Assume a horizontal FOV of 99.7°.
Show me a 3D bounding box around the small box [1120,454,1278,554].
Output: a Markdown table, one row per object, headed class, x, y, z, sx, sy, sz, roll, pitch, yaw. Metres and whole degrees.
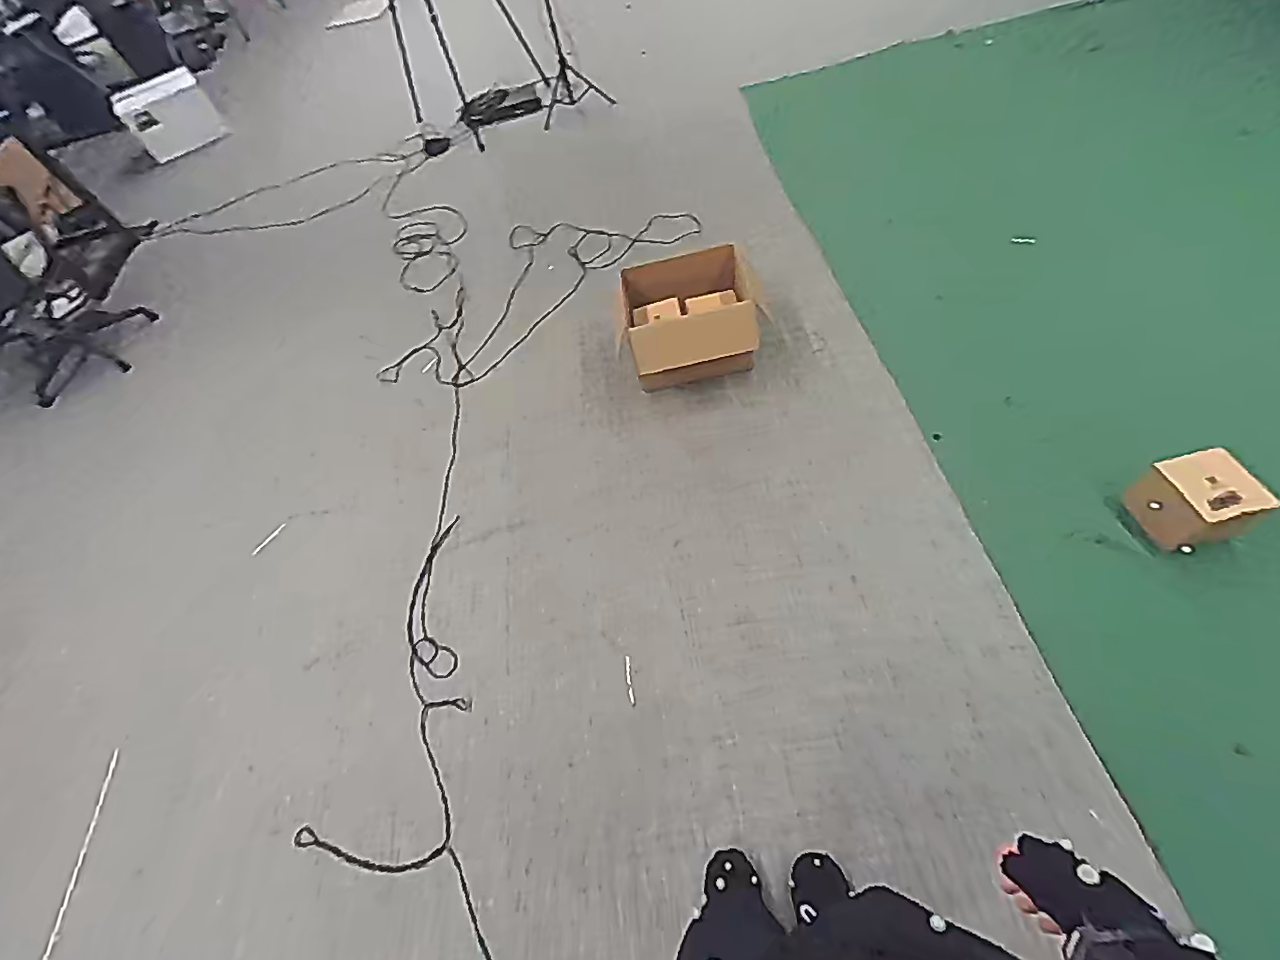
| class | x | y | z | sx | sy | sz | roll | pitch | yaw |
| --- | --- | --- | --- | --- | --- | --- | --- | --- | --- |
| small box | 1.357 | 0.068 | 1.330 | 0.168 | 0.176 | 0.179 | -14 | 54 | 2 |
